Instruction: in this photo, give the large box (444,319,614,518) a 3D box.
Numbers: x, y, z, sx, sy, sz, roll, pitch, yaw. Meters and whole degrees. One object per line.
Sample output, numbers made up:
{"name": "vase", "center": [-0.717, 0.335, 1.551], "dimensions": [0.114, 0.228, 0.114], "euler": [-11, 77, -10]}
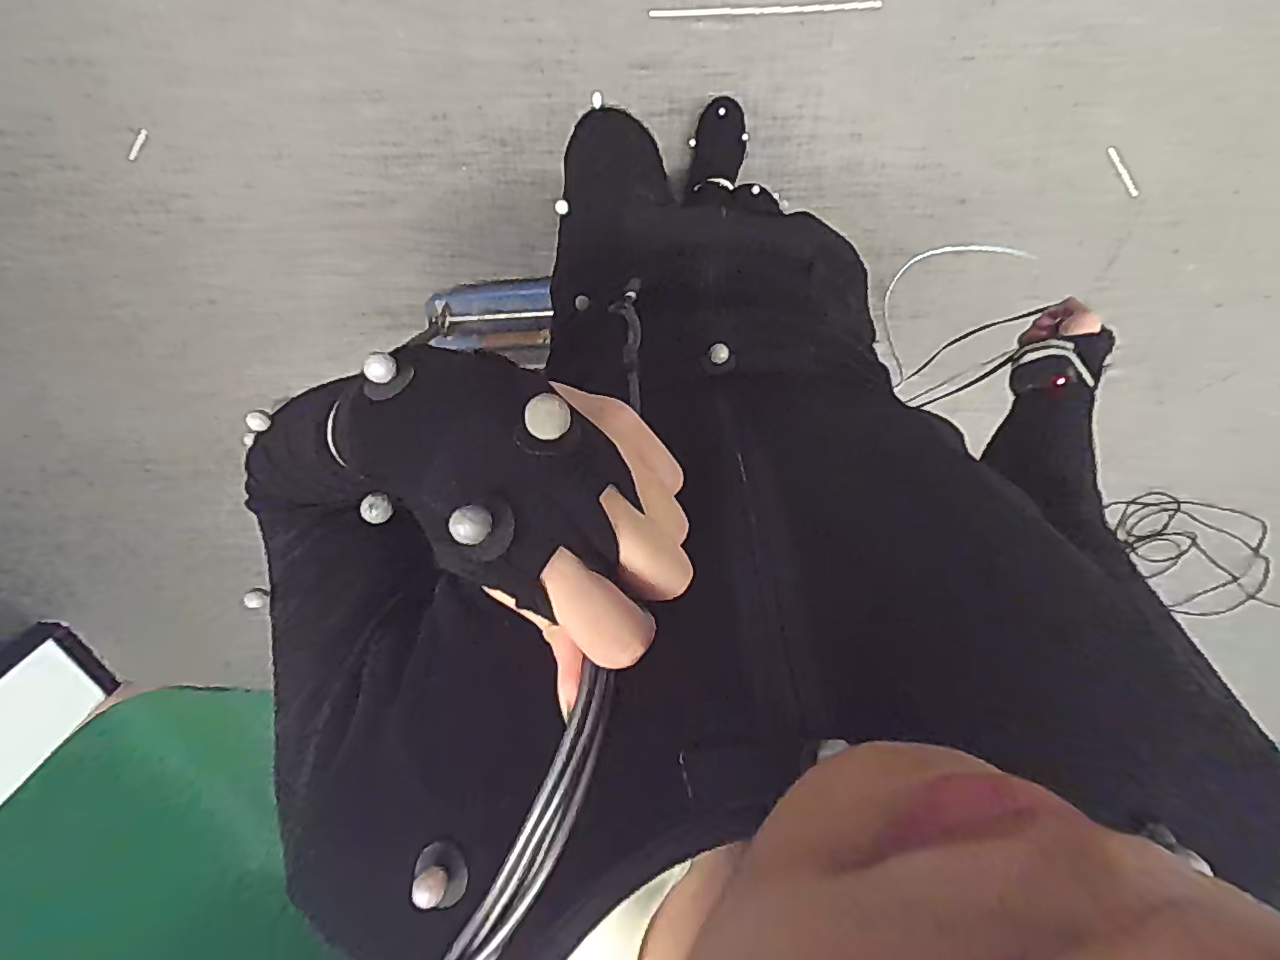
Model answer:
{"name": "large box", "center": [-0.246, -0.157, 1.365], "dimensions": [0.320, 0.320, 0.408], "euler": [-1, 125, 5]}
